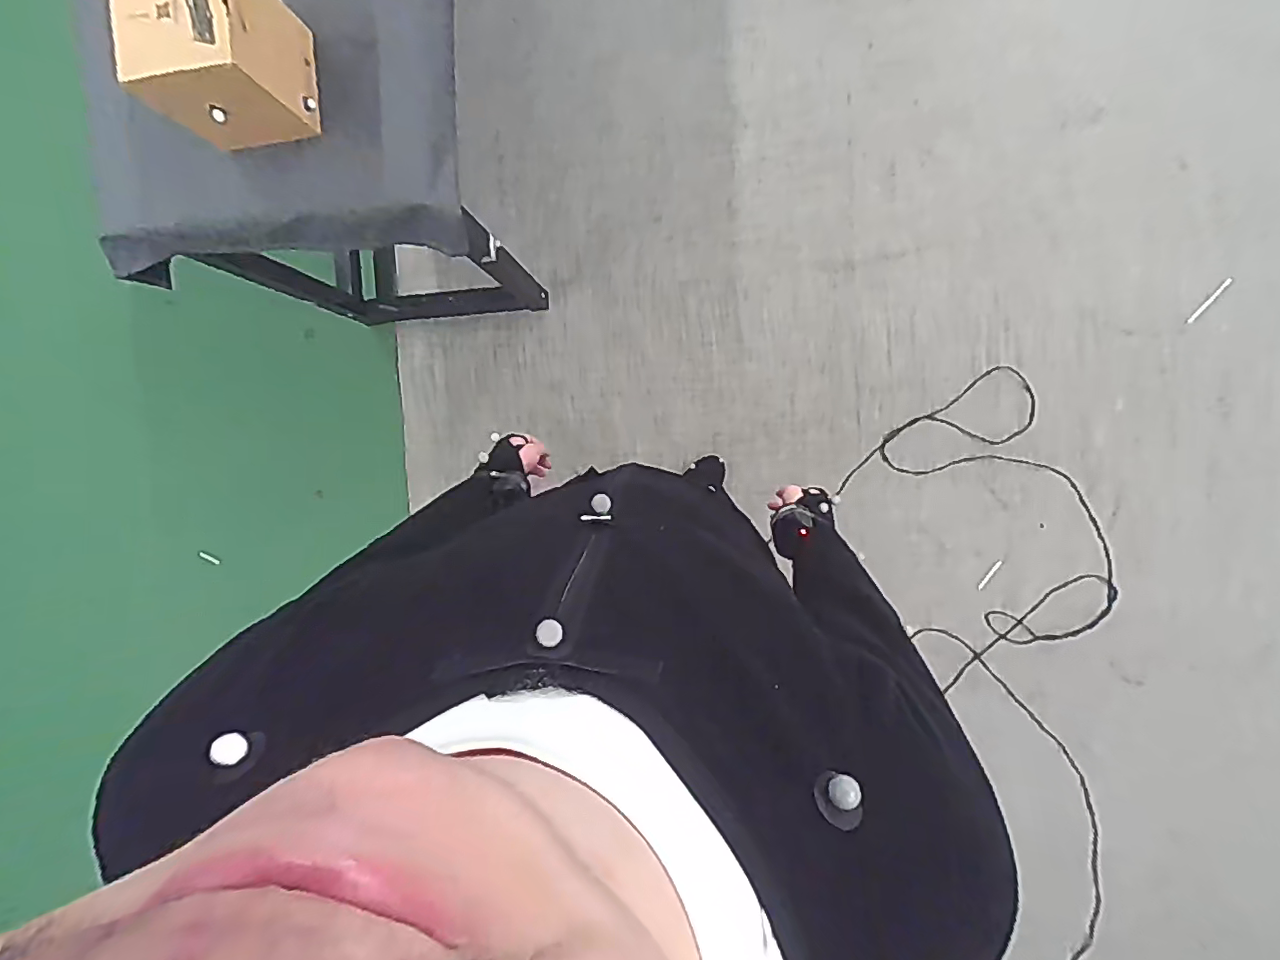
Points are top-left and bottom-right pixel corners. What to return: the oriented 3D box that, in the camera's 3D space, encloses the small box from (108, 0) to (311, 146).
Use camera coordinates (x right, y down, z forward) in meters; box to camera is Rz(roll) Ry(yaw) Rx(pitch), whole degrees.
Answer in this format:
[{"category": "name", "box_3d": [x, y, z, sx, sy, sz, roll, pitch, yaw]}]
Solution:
[{"category": "small box", "box_3d": [-0.614, -0.624, 0.792, 0.179, 0.176, 0.168, -4, 92, 6]}]
